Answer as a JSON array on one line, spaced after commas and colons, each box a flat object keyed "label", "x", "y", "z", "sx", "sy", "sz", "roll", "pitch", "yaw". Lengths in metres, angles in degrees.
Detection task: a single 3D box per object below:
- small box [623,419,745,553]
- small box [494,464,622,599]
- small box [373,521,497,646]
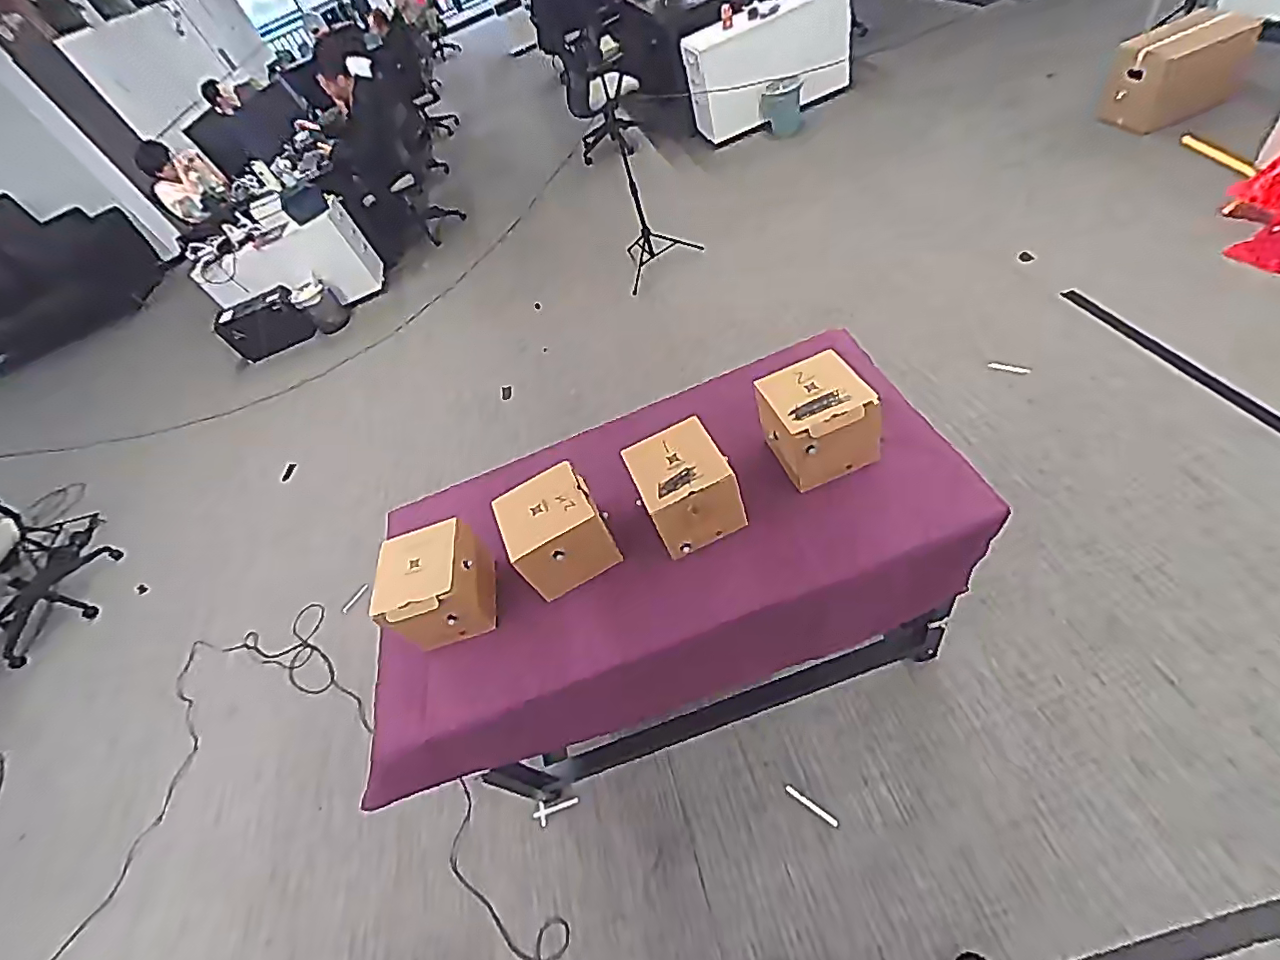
[{"label": "small box", "x": 0.088, "y": 0.020, "z": 1.054, "sx": 0.168, "sy": 0.176, "sz": 0.179, "roll": -26, "pitch": 47, "yaw": 0}, {"label": "small box", "x": -0.161, "y": 0.108, "z": 1.078, "sx": 0.179, "sy": 0.176, "sz": 0.168, "roll": -29, "pitch": 49, "yaw": -3}, {"label": "small box", "x": -0.398, "y": 0.216, "z": 1.083, "sx": 0.168, "sy": 0.176, "sz": 0.179, "roll": -18, "pitch": 48, "yaw": 5}]
